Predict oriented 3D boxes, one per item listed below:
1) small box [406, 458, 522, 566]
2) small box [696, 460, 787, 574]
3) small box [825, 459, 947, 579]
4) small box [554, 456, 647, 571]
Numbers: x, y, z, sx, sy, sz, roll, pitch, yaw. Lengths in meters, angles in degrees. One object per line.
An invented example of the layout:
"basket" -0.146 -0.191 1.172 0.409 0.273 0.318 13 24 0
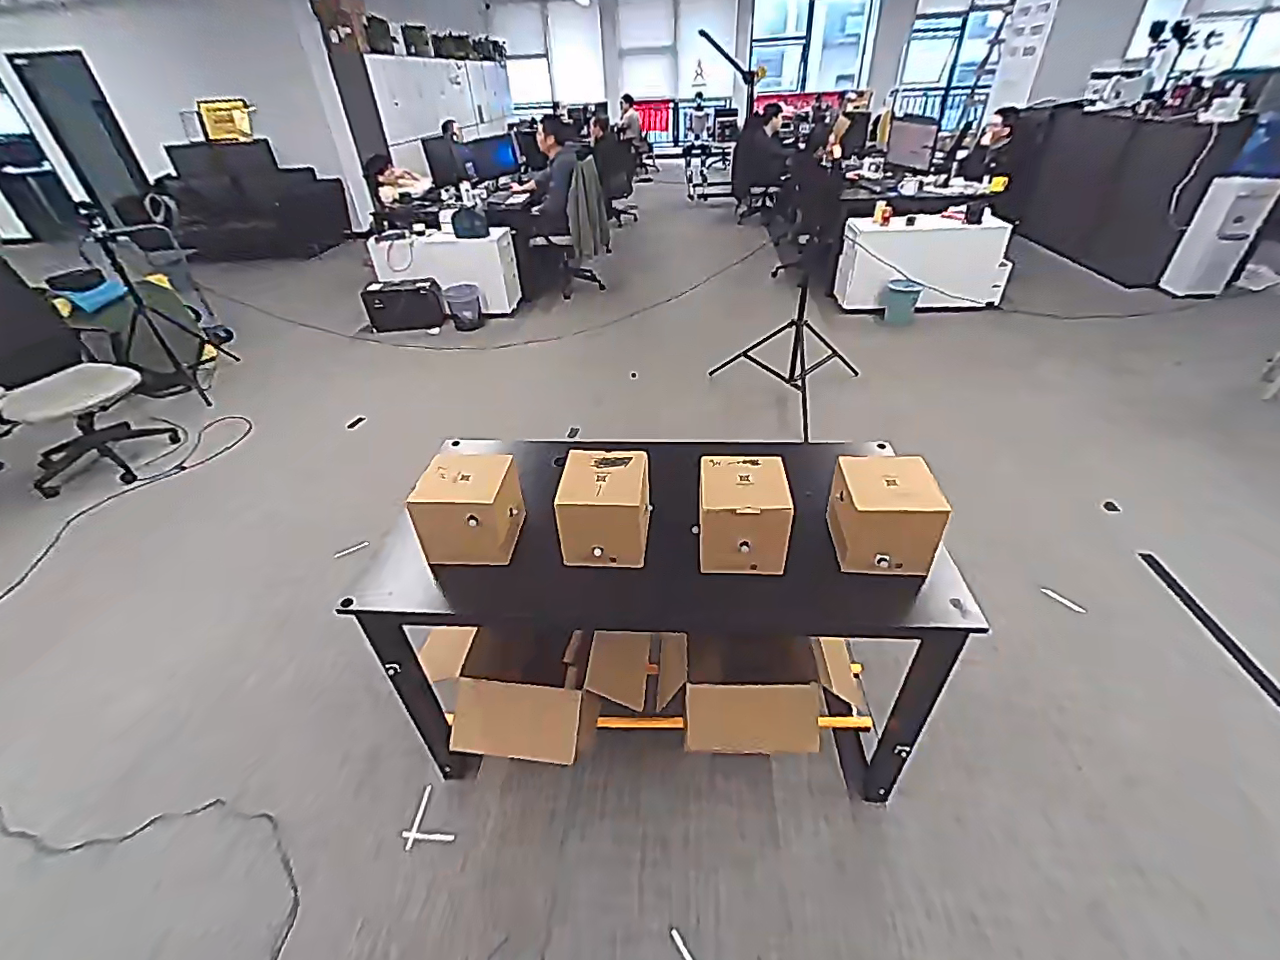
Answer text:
"small box" -0.359 0.069 1.145 0.179 0.176 0.168 0 36 4
"small box" 0.200 0.076 1.100 0.168 0.176 0.179 0 37 5
"small box" 0.477 0.075 1.082 0.168 0.176 0.179 -1 37 6
"small box" -0.074 0.067 1.131 0.168 0.176 0.179 1 37 5
